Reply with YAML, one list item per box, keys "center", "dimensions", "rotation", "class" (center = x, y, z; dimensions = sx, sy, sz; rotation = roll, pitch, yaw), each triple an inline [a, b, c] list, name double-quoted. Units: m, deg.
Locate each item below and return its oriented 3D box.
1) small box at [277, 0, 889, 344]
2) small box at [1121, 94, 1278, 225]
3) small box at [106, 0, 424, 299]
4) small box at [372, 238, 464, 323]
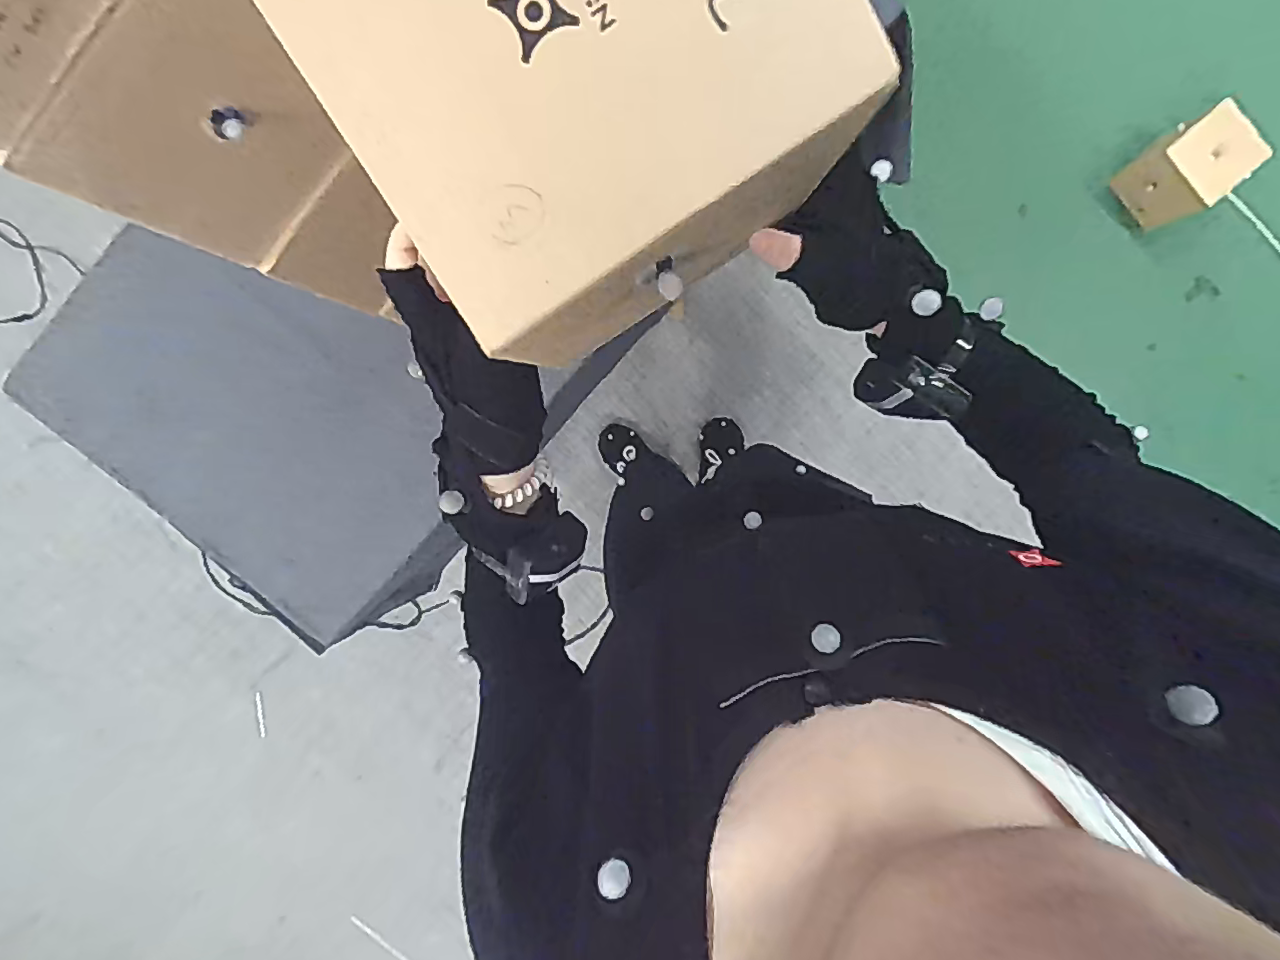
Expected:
- center: [-0.025, -0.183, 0.262]
  dimensions: [0.179, 0.176, 0.168]
  rotation: [-31, 96, 6]
  class: "small box"
- center: [1.313, -0.750, 1.290]
  dimensions: [0.179, 0.176, 0.168]
  rotation: [-41, 92, 5]
  class: "small box"
- center: [-0.301, -0.300, 0.498]
  dimensions: [0.168, 0.176, 0.179]
  rotation: [42, 96, -1]
  class: "small box"
- center: [-0.289, -0.317, 0.660]
  dimensions: [0.179, 0.176, 0.168]
  rotation: [44, 96, -3]
  class: "small box"
